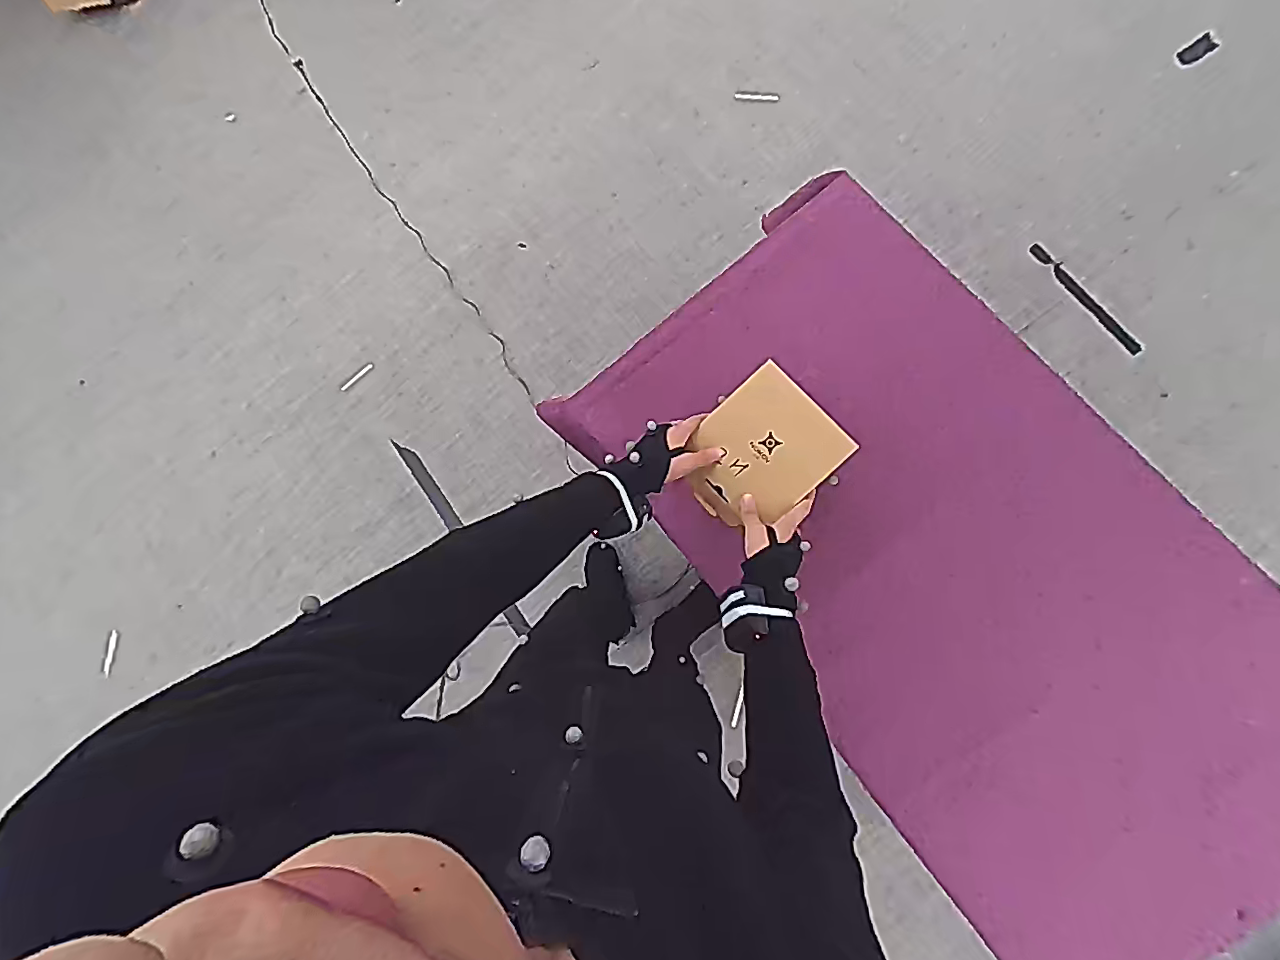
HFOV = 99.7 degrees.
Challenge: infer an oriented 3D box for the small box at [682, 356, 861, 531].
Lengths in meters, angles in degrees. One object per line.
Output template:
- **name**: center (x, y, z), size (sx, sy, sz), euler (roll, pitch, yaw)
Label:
- **small box**: center (0.181, -0.044, 0.788), size (0.179, 0.176, 0.168), euler (-43, 80, 3)
